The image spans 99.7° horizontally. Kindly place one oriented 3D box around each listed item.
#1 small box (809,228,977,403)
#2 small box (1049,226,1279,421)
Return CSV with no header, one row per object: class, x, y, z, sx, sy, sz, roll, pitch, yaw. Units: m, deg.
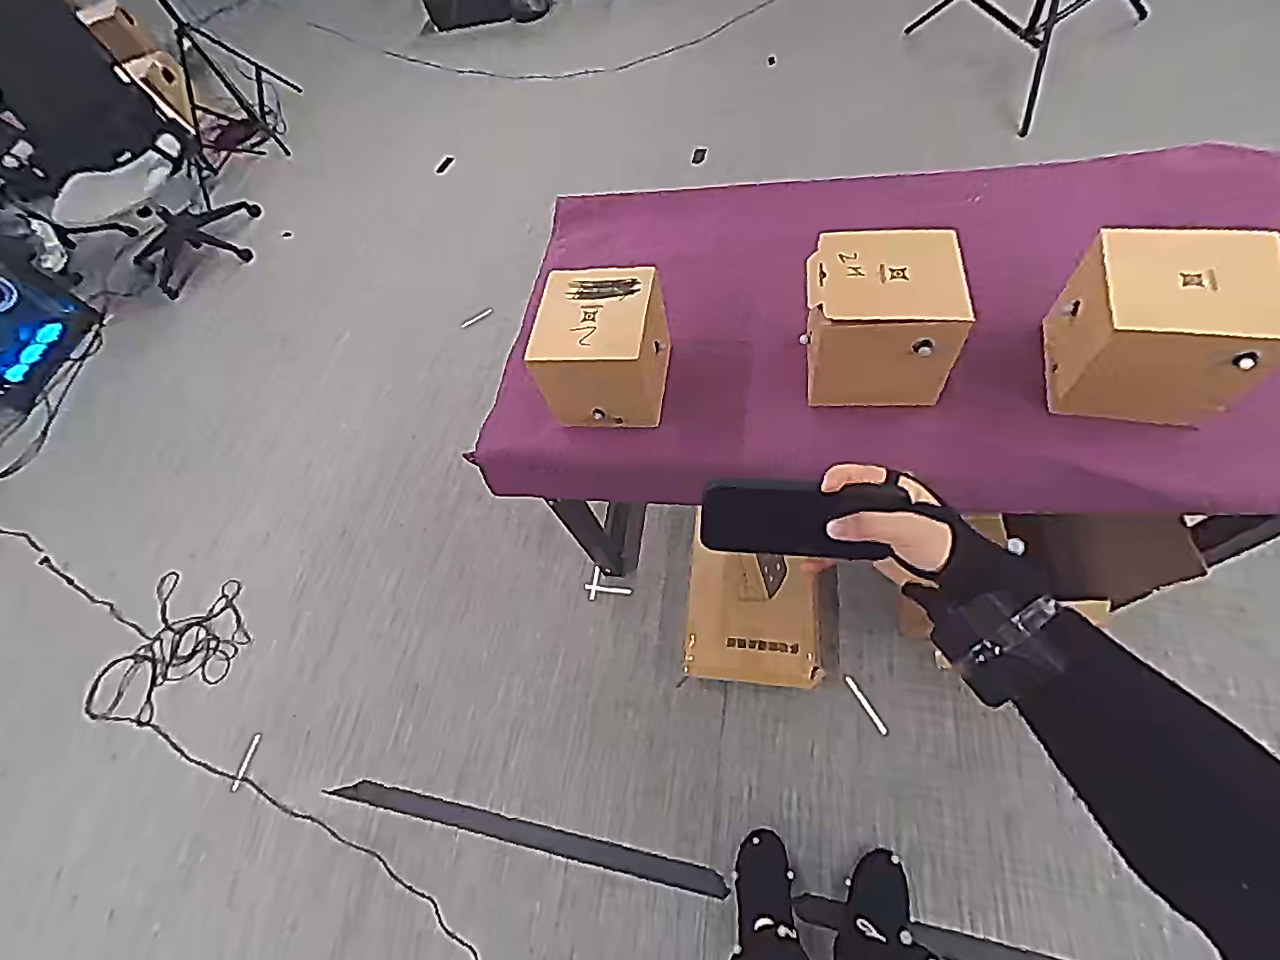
small box,0.336,-0.221,0.755,0.179,0.176,0.168,2,60,13
small box,0.642,-0.189,0.674,0.179,0.176,0.168,9,64,16
